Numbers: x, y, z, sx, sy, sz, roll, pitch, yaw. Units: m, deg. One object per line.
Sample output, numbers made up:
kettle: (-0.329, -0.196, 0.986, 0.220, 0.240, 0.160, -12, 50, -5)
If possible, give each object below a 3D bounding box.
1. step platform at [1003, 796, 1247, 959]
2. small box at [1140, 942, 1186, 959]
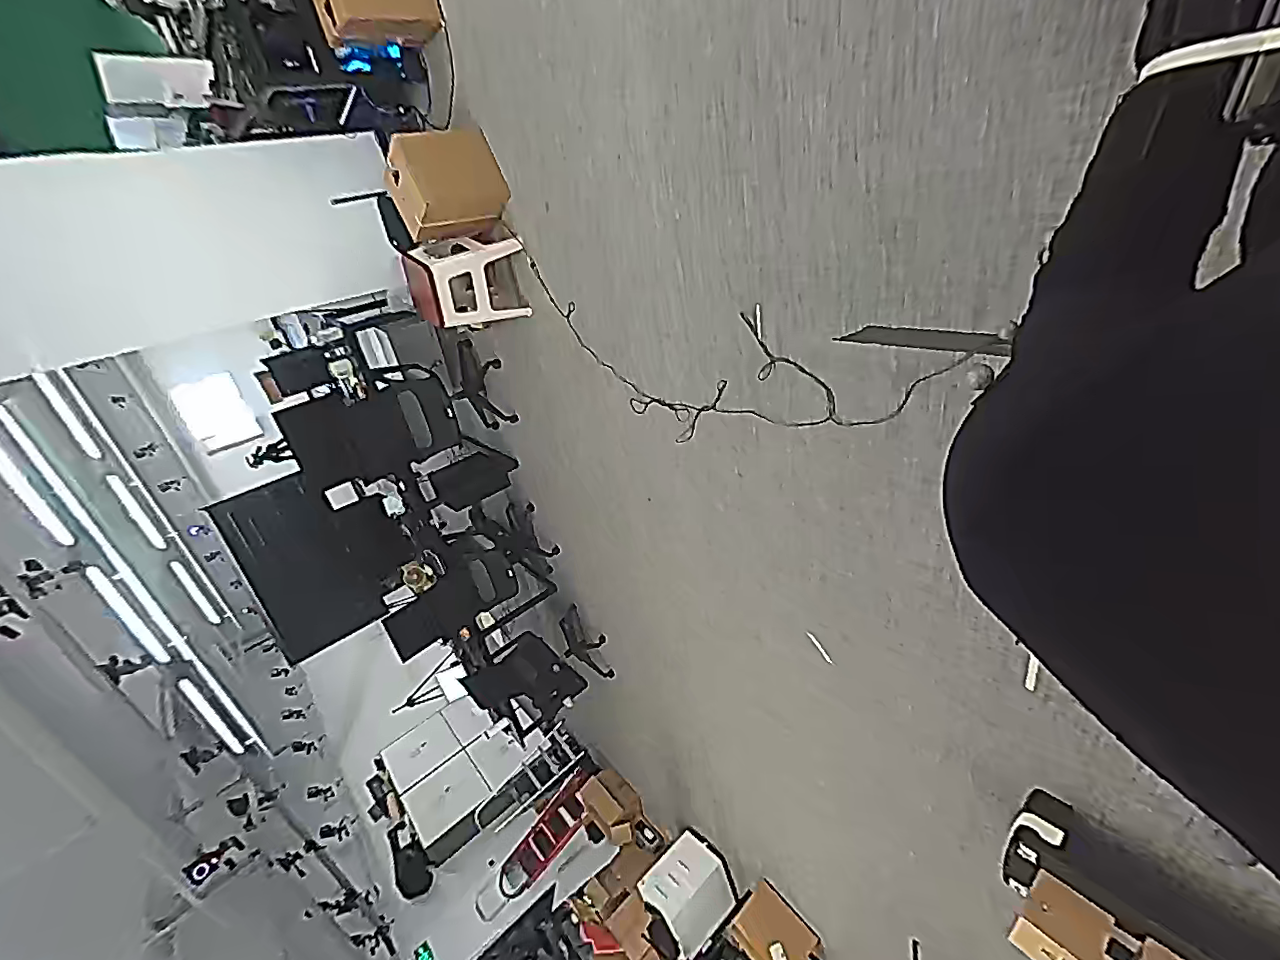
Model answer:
step platform: (1.411, 1.230, 1.491, 0.684, 0.204, 0.286, 21, 132, 46)
small box: (1.332, 1.311, 1.334, 0.168, 0.176, 0.179, 23, 133, 44)
